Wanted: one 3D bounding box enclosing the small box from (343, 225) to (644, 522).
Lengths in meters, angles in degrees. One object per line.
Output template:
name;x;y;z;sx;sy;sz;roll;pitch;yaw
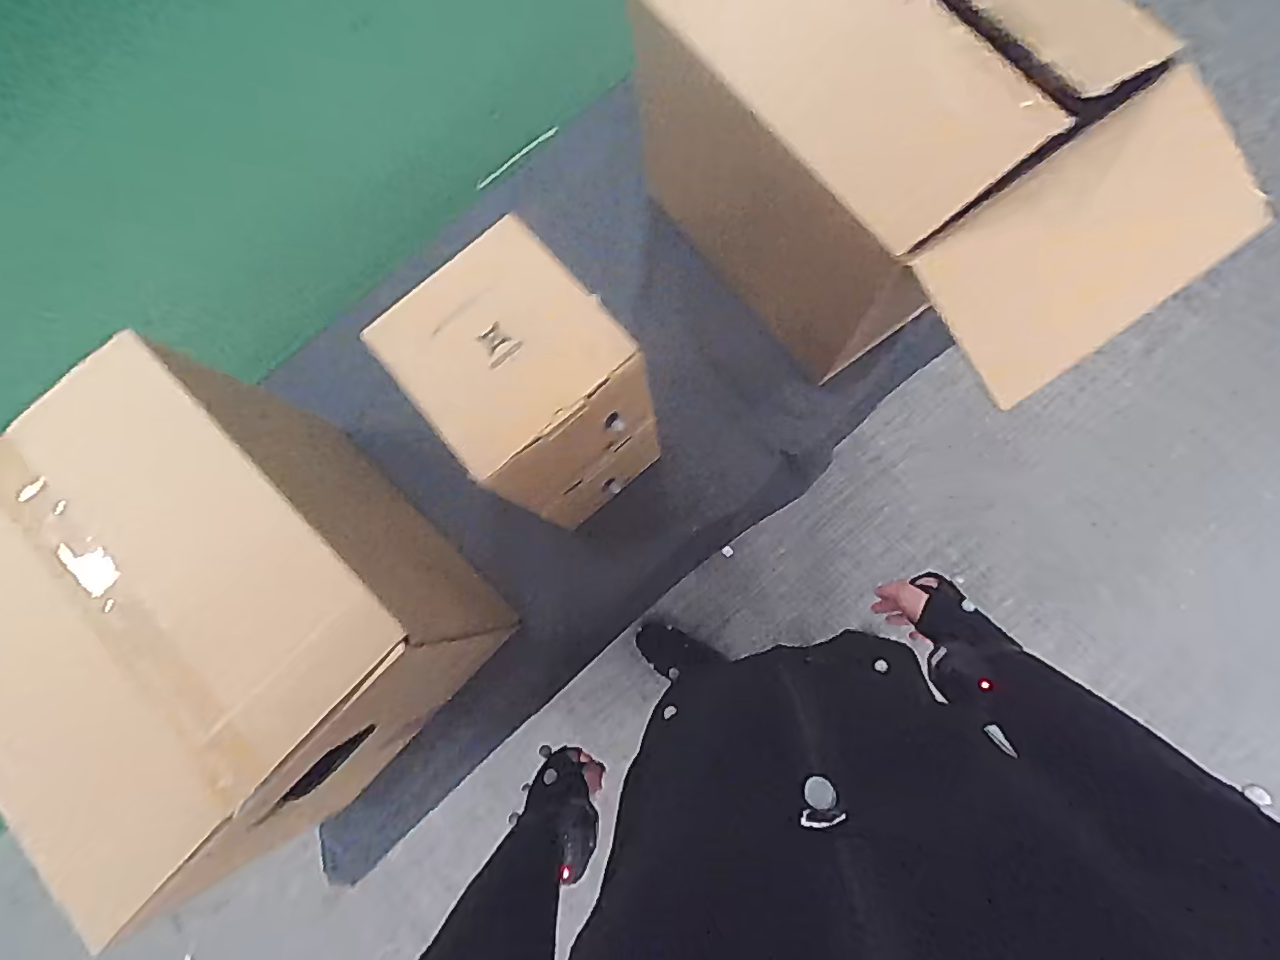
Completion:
small box;-0.111;-0.077;0.490;0.168;0.176;0.179;-41;78;-4
